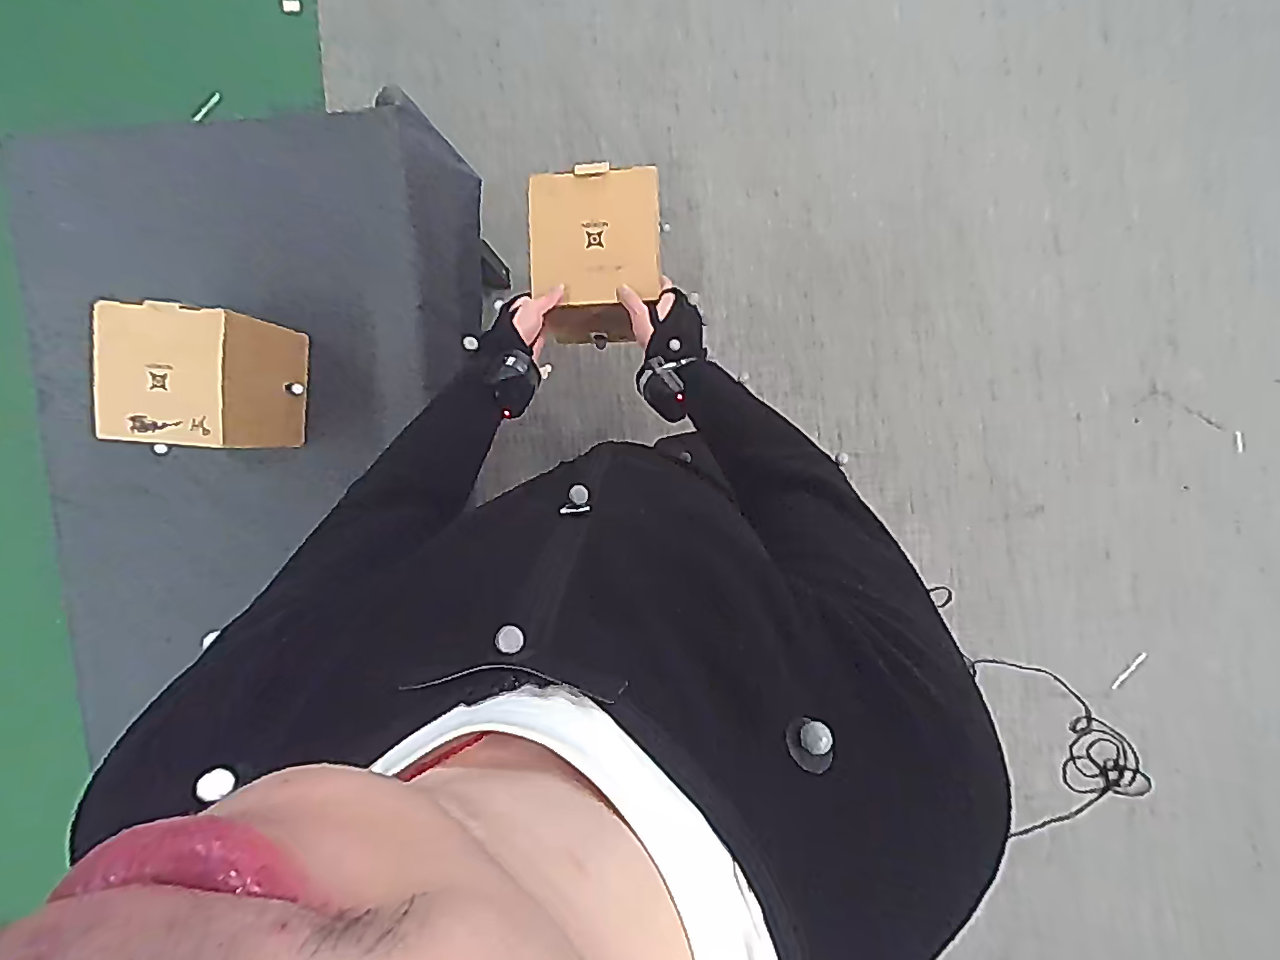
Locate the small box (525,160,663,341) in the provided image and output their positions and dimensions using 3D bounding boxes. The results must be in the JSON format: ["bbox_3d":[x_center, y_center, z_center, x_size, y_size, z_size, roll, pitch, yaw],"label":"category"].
[{"bbox_3d":[-0.054,-0.302,0.742,0.168,0.176,0.179,0,88,4],"label":"small box"}]

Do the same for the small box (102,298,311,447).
[{"bbox_3d":[-0.597,-0.141,0.766,0.168,0.176,0.179,5,94,0],"label":"small box"}]
